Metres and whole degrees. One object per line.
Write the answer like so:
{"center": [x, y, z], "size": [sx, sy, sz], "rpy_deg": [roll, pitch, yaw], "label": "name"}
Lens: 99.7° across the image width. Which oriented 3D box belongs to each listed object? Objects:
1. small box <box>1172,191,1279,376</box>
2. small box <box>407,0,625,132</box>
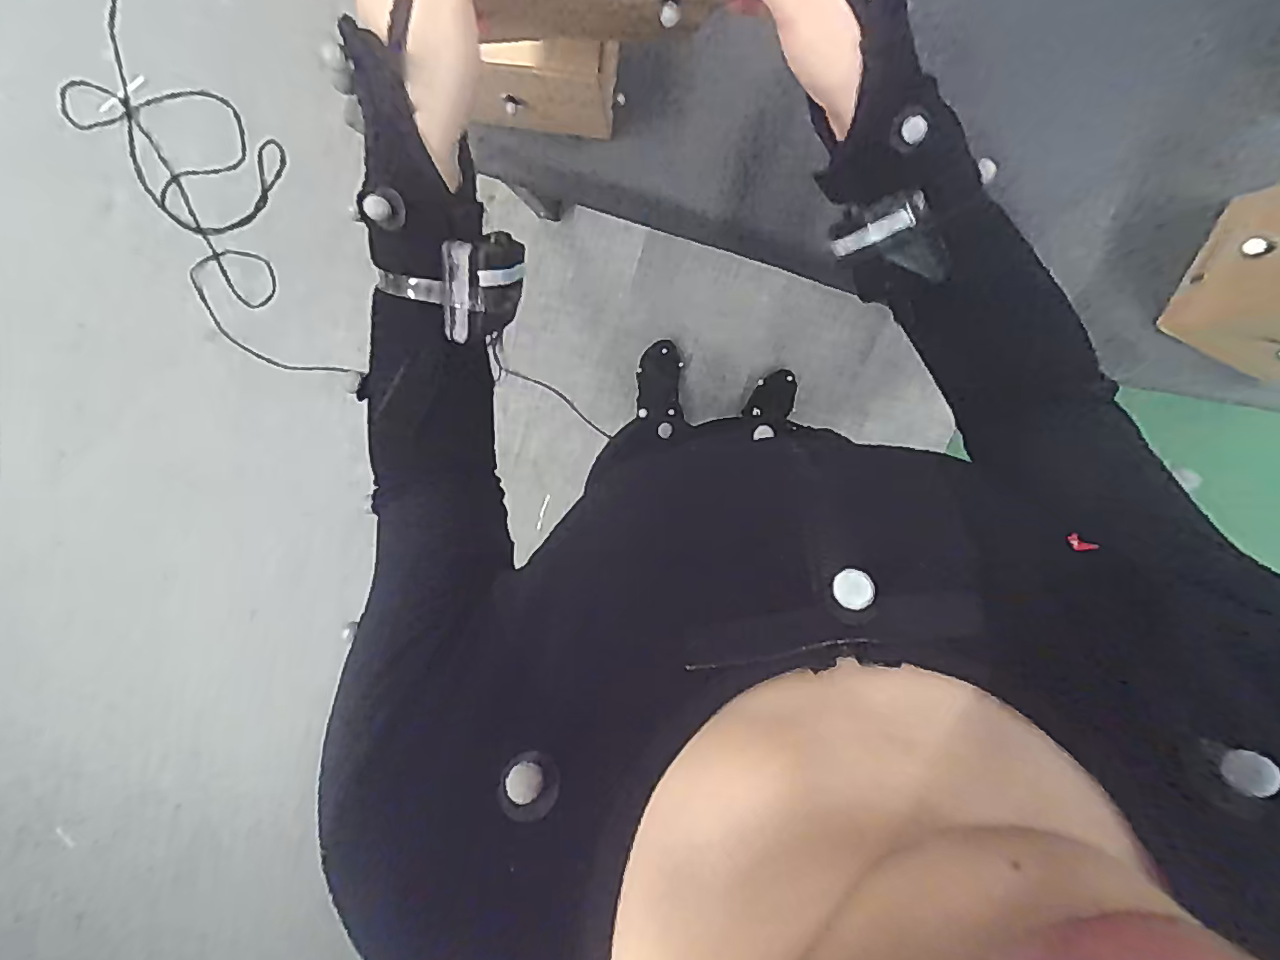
{"center": [0.751, -0.213, 0.577], "size": [0.179, 0.176, 0.168], "rpy_deg": [23, 101, -4], "label": "small box"}
{"center": [-0.108, -0.465, 0.530], "size": [0.179, 0.176, 0.168], "rpy_deg": [7, 107, 0], "label": "small box"}
